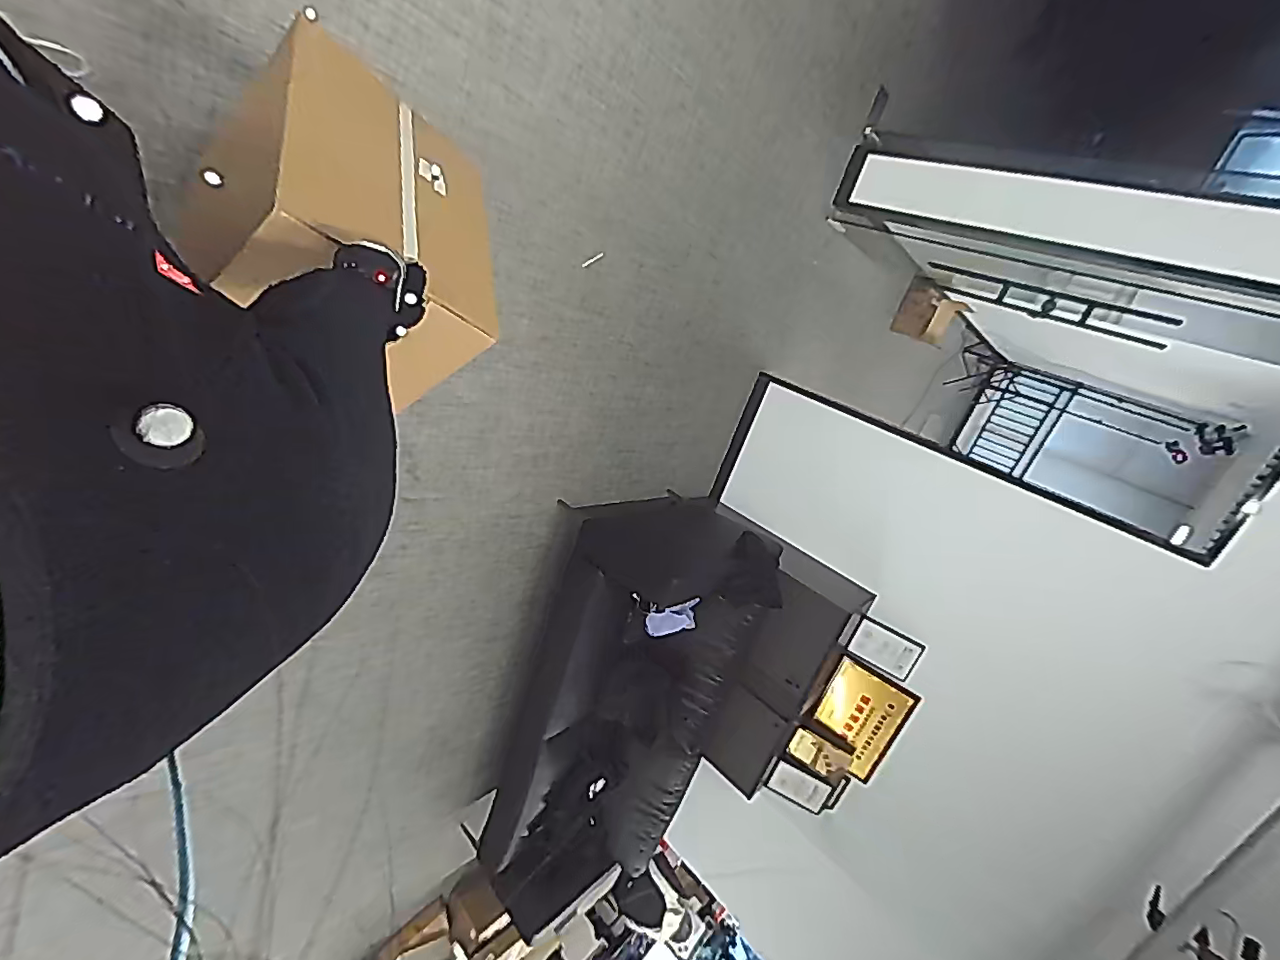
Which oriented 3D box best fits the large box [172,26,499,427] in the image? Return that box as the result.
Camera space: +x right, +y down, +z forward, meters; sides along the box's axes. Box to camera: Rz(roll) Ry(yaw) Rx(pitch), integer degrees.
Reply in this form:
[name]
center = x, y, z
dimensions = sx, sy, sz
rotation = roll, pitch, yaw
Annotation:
[large box]
center = -0.462, -0.356, 0.846
dimensions = 0.320, 0.408, 0.320
rotation = -27, 152, 25
